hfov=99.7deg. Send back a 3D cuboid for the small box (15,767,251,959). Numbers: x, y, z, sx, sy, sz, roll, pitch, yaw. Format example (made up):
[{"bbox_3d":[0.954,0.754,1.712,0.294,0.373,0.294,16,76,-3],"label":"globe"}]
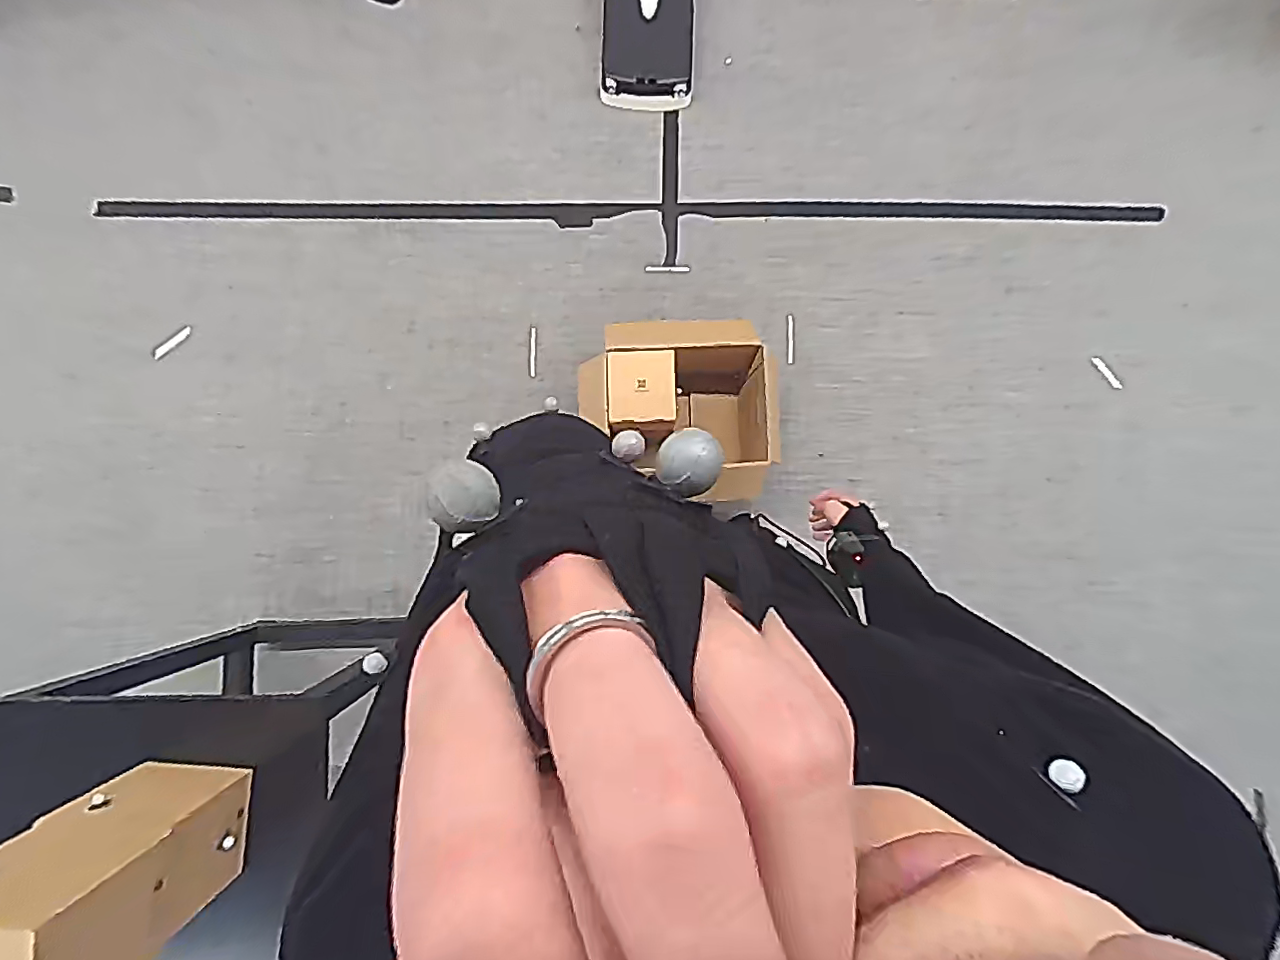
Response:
[{"bbox_3d":[-0.717,0.541,0.784,0.179,0.176,0.168,5,88,-1],"label":"small box"}]
